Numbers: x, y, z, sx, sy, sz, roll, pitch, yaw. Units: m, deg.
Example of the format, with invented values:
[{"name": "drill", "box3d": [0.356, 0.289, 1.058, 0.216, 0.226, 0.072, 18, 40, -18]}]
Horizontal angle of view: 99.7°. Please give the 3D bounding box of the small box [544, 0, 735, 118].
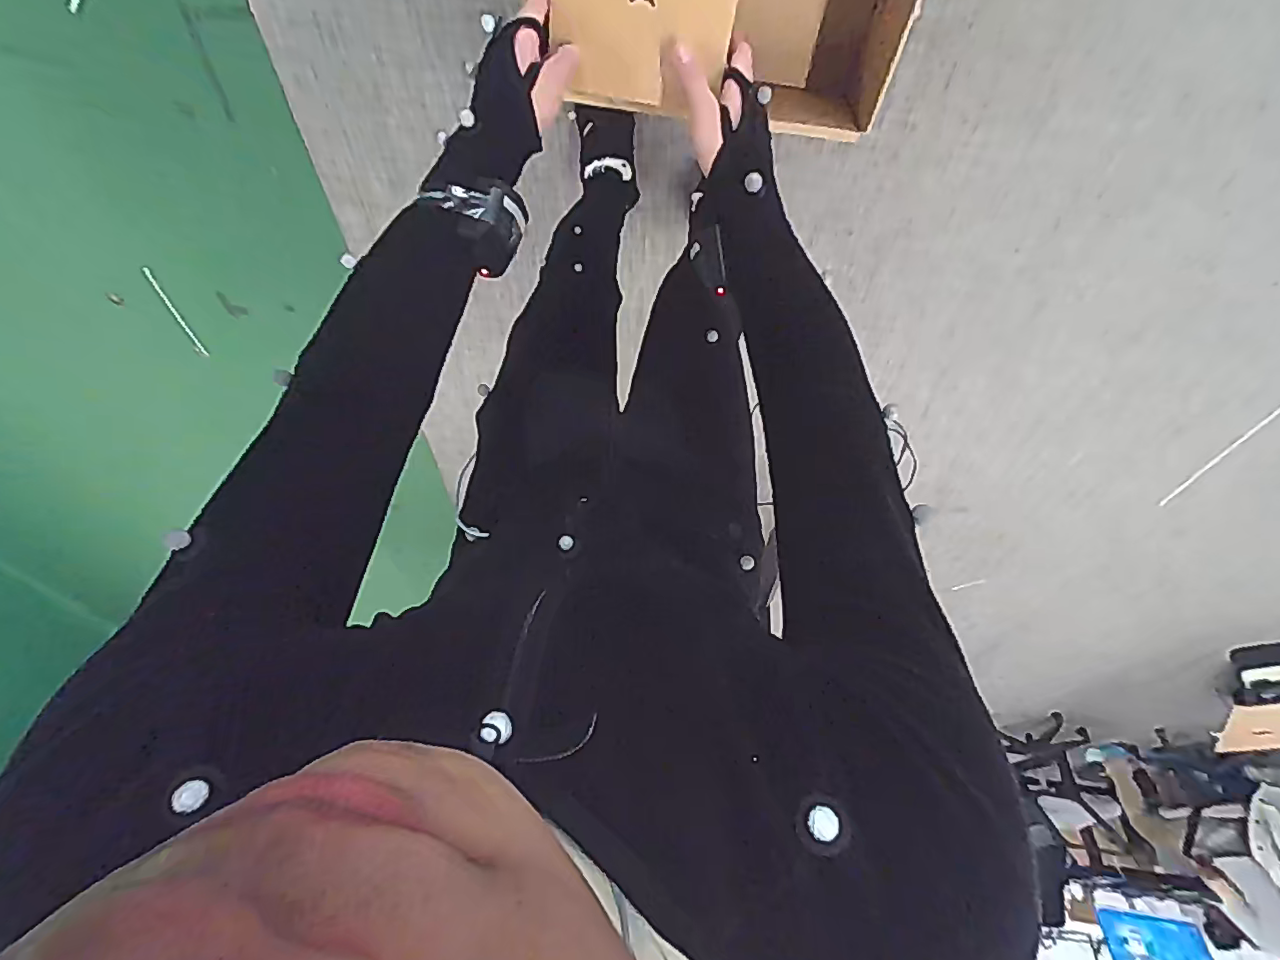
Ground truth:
[{"name": "small box", "box3d": [0.009, -0.476, 0.516, 0.168, 0.176, 0.179, 9, 131, -2]}]
